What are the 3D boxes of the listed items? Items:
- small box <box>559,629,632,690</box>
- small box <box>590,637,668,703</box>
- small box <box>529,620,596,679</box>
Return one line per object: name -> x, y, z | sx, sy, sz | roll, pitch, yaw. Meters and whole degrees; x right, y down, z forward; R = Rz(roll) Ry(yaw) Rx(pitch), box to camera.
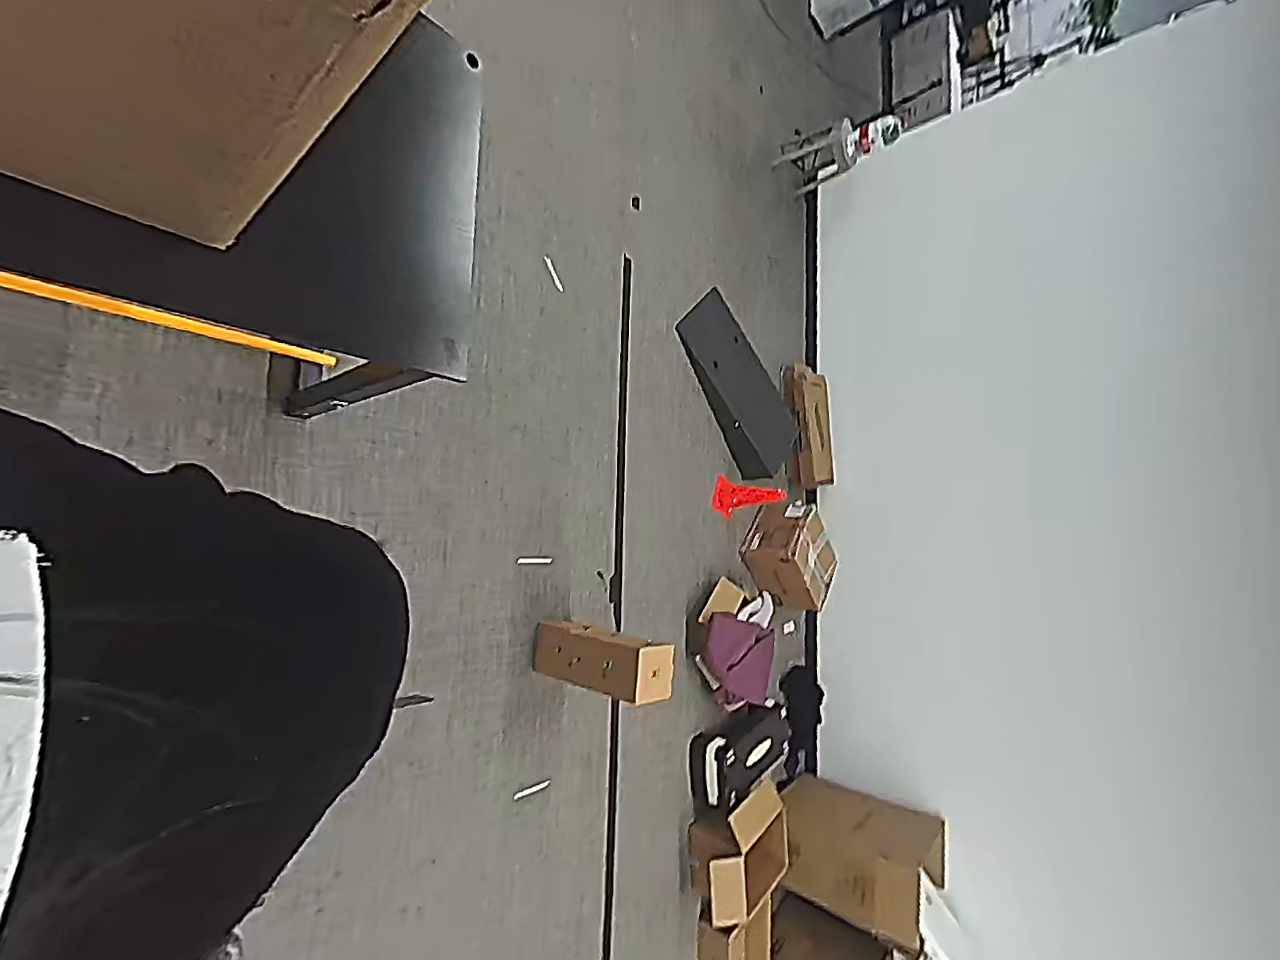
small box -> -0.150, 0.603, 1.837 | 0.179, 0.176, 0.168 | 14, 77, -49
small box -> -0.034, 0.597, 1.722 | 0.179, 0.176, 0.168 | 14, 77, -48
small box -> -0.279, 0.601, 1.939 | 0.168, 0.176, 0.179 | 14, 78, -49
